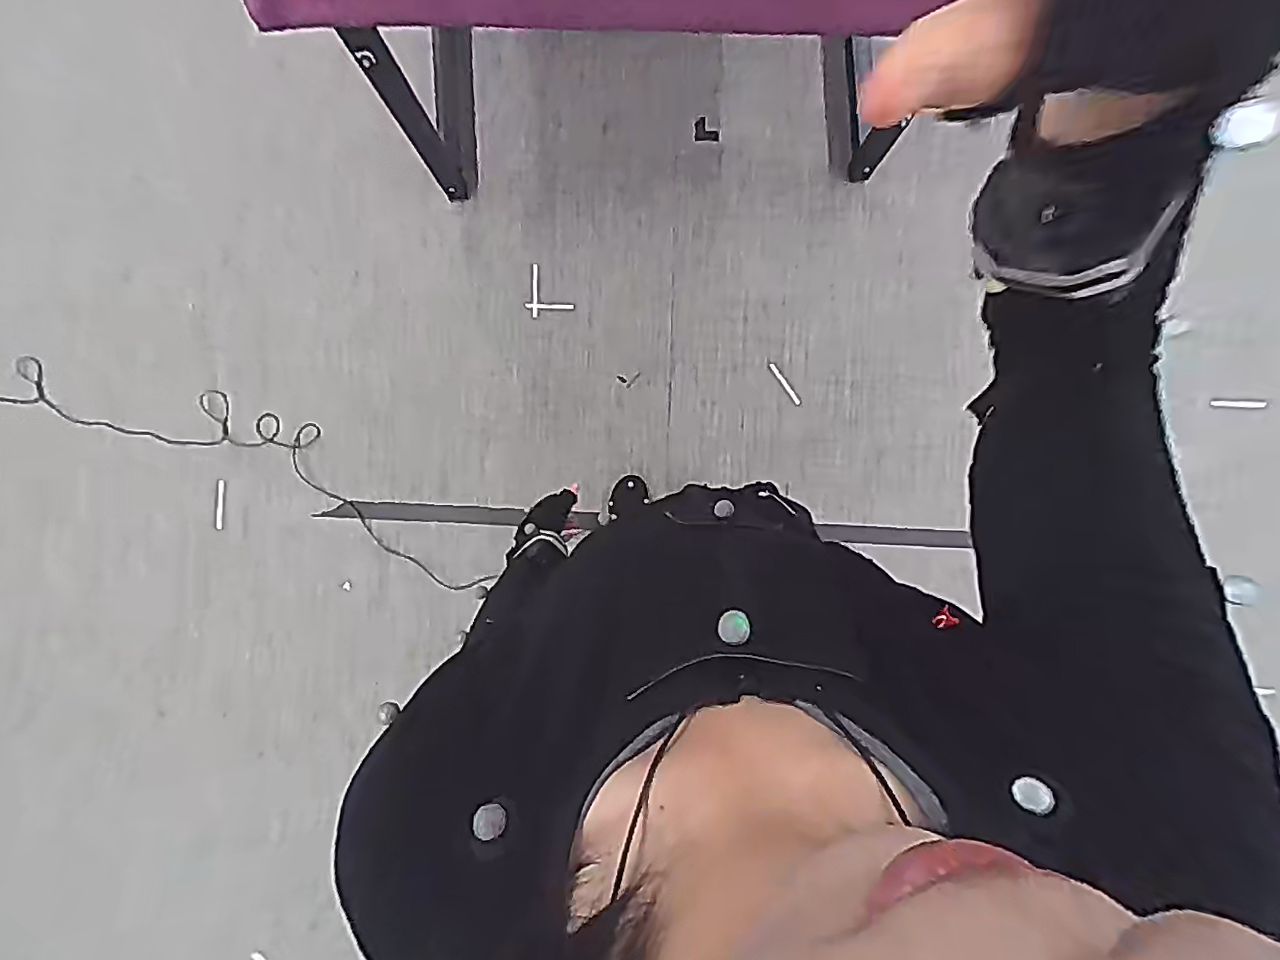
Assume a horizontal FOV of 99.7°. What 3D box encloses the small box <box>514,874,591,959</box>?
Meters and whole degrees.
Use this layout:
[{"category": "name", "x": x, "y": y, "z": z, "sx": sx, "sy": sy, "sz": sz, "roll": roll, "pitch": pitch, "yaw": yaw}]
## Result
[{"category": "small box", "x": -0.218, "y": 1.147, "z": 1.383, "sx": 0.179, "sy": 0.176, "sz": 0.168, "roll": 2, "pitch": 88, "yaw": -1}]
